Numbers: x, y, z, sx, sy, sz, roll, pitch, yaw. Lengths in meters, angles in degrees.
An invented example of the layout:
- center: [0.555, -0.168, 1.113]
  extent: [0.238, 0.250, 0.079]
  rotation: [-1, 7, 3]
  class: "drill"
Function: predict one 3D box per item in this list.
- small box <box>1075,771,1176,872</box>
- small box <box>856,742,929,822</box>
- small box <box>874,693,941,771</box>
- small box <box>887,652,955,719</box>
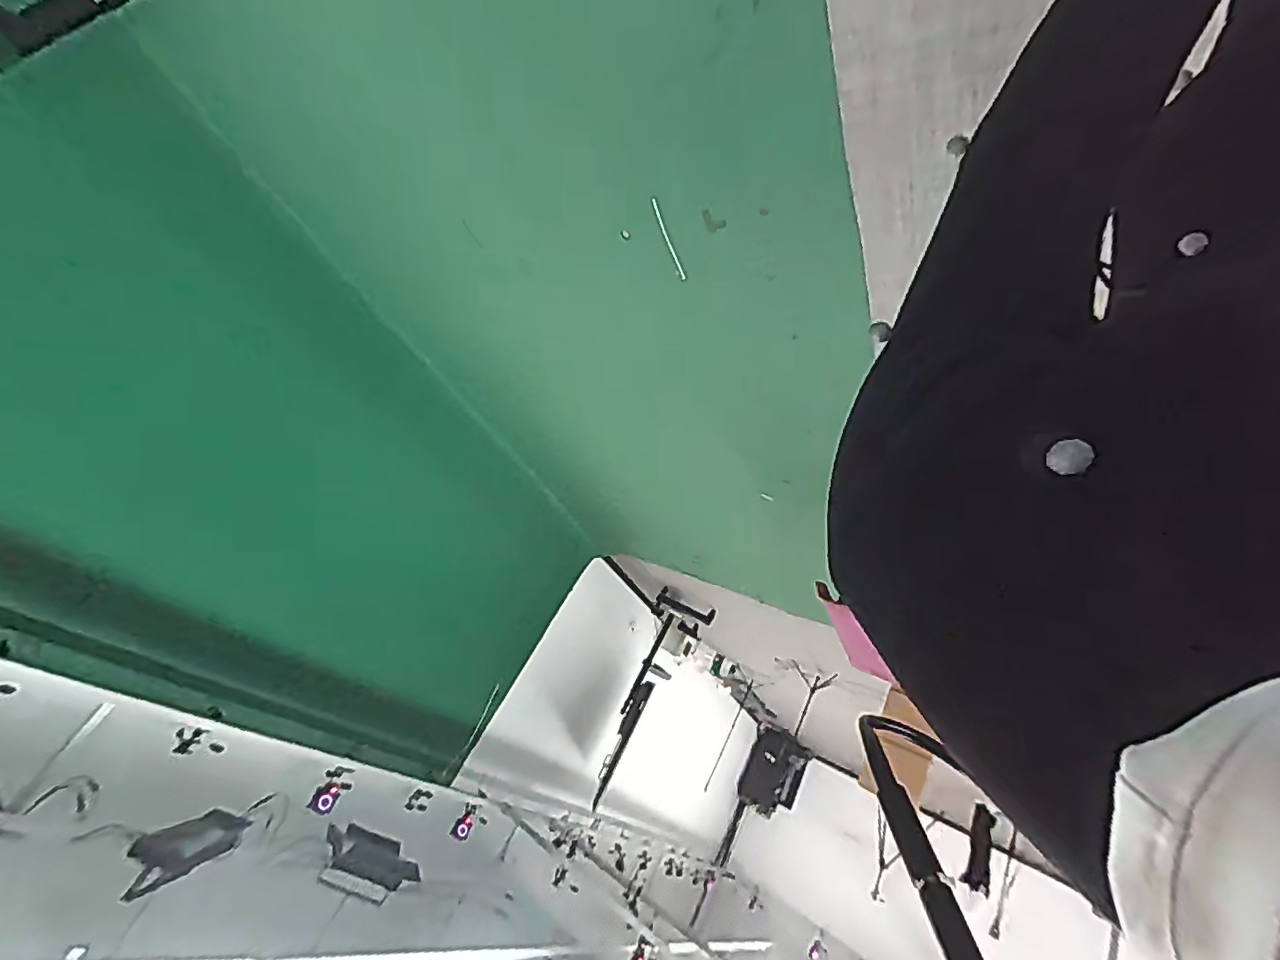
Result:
- center: [1.307, 0.912, 1.460]
  extent: [0.179, 0.176, 0.168]
  rotation: [10, 149, 39]
  class: "small box"
- center: [0.819, 0.974, 1.759]
  extent: [0.179, 0.176, 0.168]
  rotation: [14, 152, 32]
  class: "small box"
- center: [0.902, 0.847, 1.825]
  extent: [0.179, 0.176, 0.168]
  rotation: [14, 150, 32]
  class: "small box"
- center: [0.983, 0.725, 1.899]
  extent: [0.179, 0.176, 0.168]
  rotation: [14, 151, 32]
  class: "small box"
